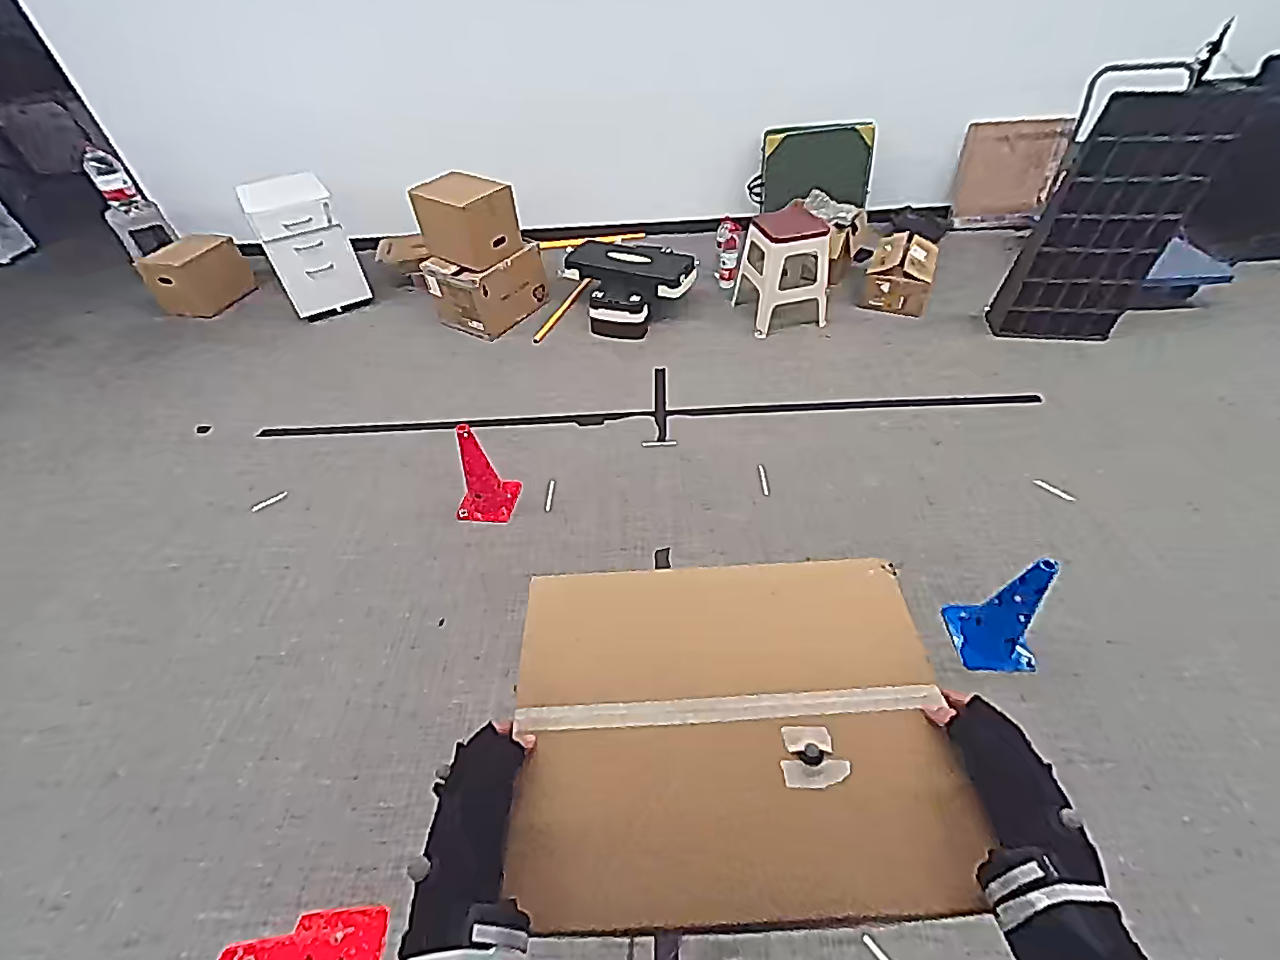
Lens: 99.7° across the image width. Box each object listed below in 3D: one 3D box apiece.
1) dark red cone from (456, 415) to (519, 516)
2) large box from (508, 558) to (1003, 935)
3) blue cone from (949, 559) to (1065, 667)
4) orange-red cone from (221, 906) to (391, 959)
[{"bbox_3d":[-0.564,-0.061,1.875,0.201,0.394,0.202,3,47,6],"label":"dark red cone"},{"bbox_3d":[0.088,0.315,0.633,0.408,0.320,0.320,-3,50,0],"label":"large box"},{"bbox_3d":[0.999,0.332,1.432,0.192,0.380,0.193,1,46,4],"label":"blue cone"},{"bbox_3d":[-0.643,0.892,0.993,0.198,0.360,0.199,-4,47,2],"label":"orange-red cone"}]
